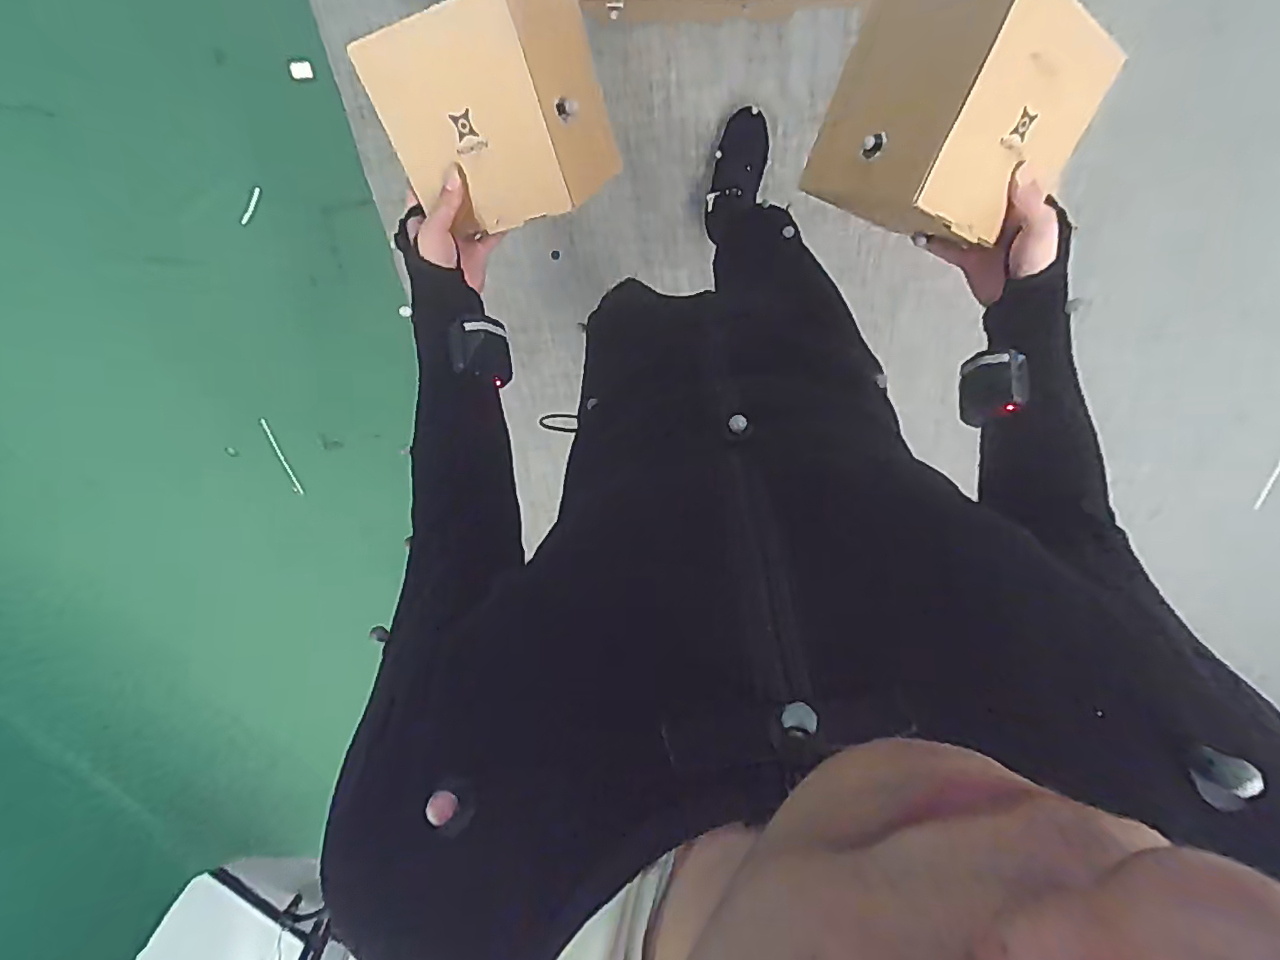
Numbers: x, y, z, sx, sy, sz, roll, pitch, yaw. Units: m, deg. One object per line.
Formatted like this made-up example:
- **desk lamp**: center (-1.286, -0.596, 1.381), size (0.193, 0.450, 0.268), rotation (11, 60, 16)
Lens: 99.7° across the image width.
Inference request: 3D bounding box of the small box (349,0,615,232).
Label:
- **small box**: center (-0.141, -0.385, 0.555), size (0.168, 0.176, 0.179), rotation (-3, 131, 21)

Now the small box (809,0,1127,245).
- **small box**: center (0.296, -0.354, 0.527), size (0.168, 0.176, 0.179), rotation (5, 117, -29)
